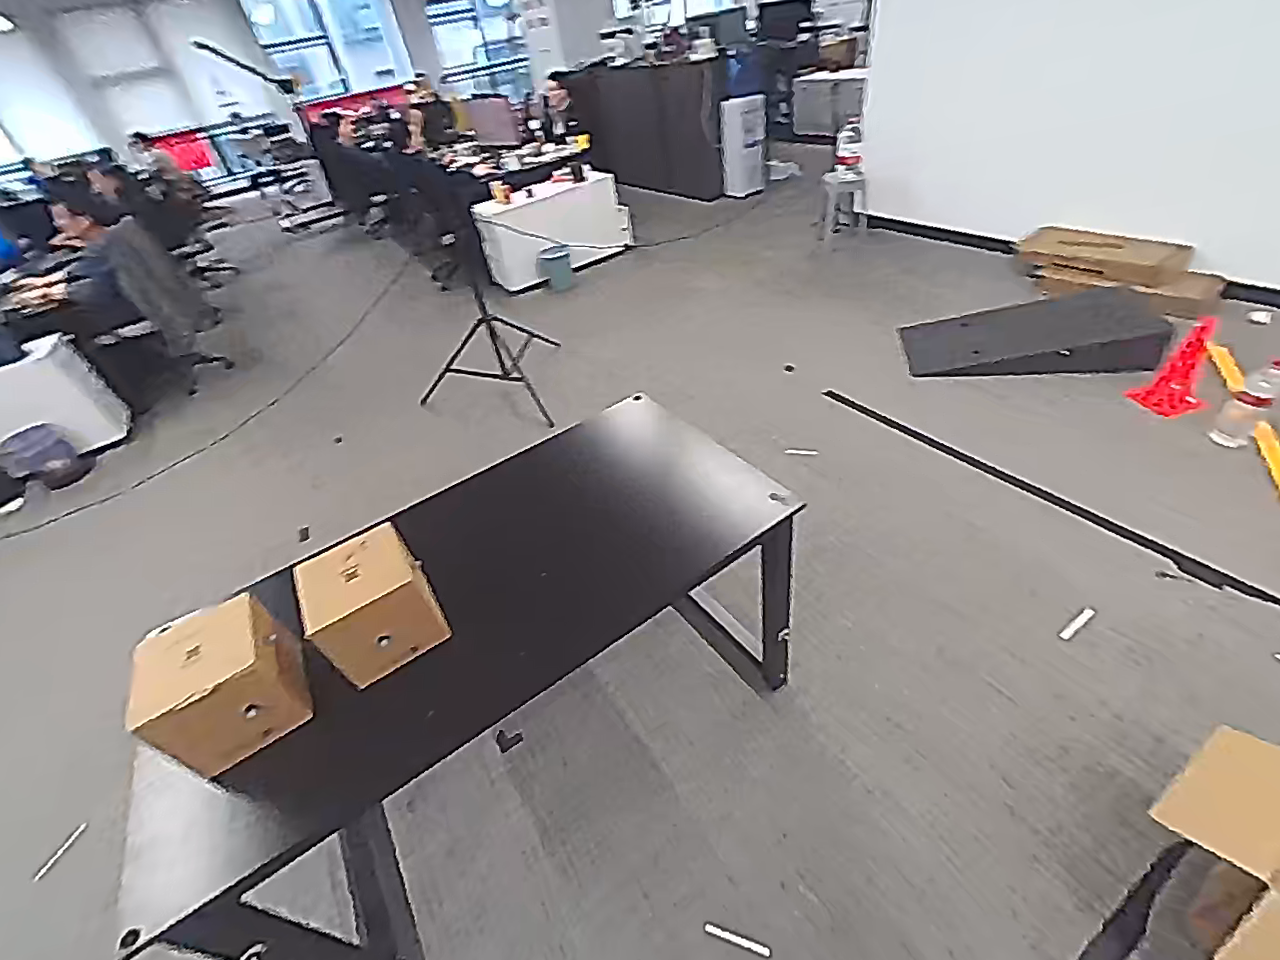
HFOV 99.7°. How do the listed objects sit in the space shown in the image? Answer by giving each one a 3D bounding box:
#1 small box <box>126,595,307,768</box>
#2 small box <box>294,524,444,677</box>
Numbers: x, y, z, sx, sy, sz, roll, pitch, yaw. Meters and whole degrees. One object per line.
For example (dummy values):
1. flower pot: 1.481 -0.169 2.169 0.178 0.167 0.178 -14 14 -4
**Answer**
1. small box: -0.665 0.327 0.867 0.168 0.176 0.179 -29 42 -22
2. small box: -0.468 0.216 0.946 0.168 0.176 0.179 -29 43 -20
